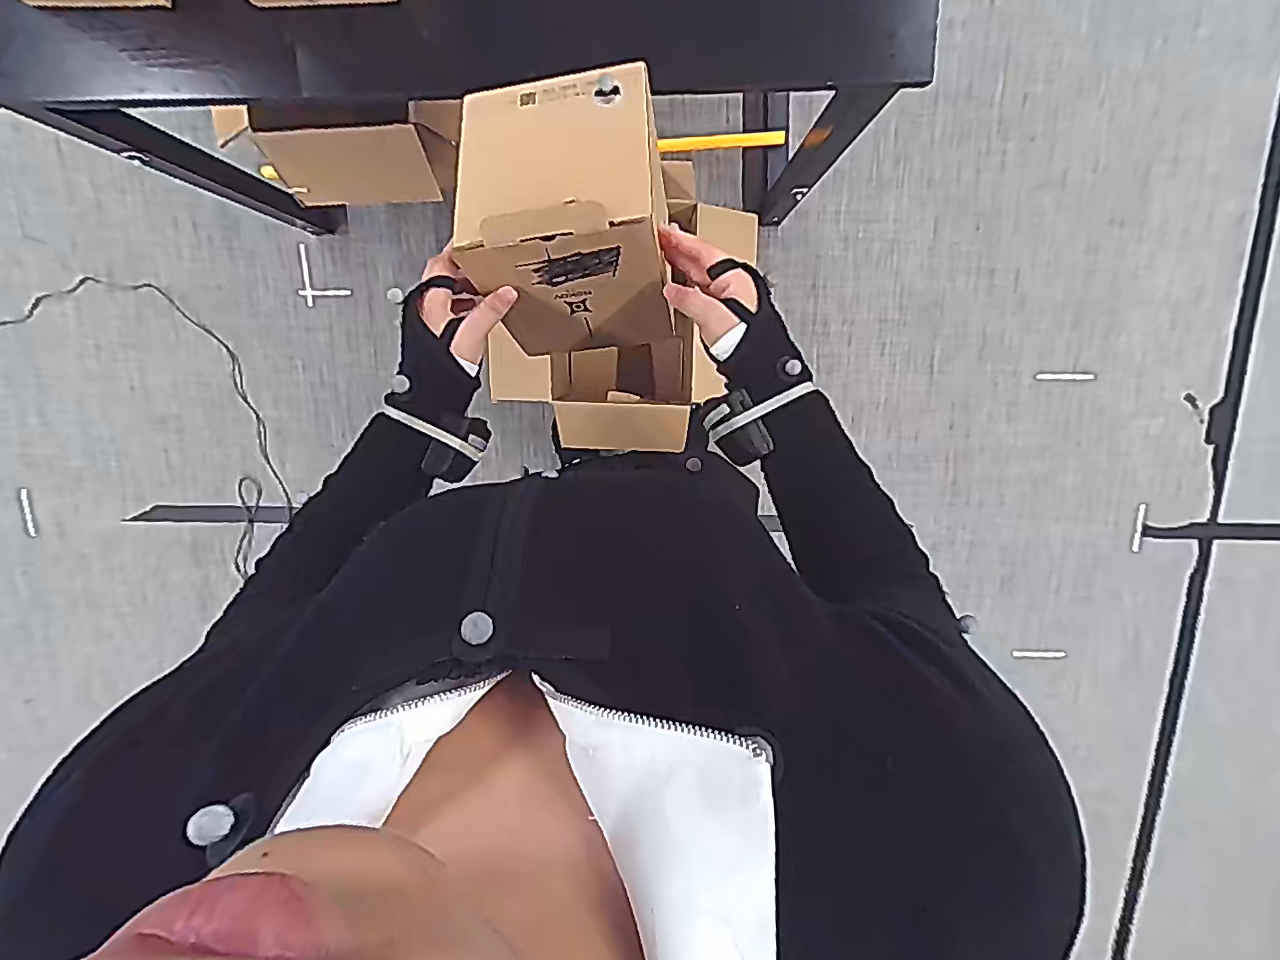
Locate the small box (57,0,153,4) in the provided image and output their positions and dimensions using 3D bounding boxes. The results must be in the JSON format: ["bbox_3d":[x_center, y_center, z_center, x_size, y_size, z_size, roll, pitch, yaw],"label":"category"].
[{"bbox_3d":[-0.636,-0.622,0.540,0.179,0.176,0.168,1,102,-1],"label":"small box"}]

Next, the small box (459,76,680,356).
[{"bbox_3d":[-0.056,-0.245,0.519,0.168,0.179,0.176,-5,72,9],"label":"small box"}]
